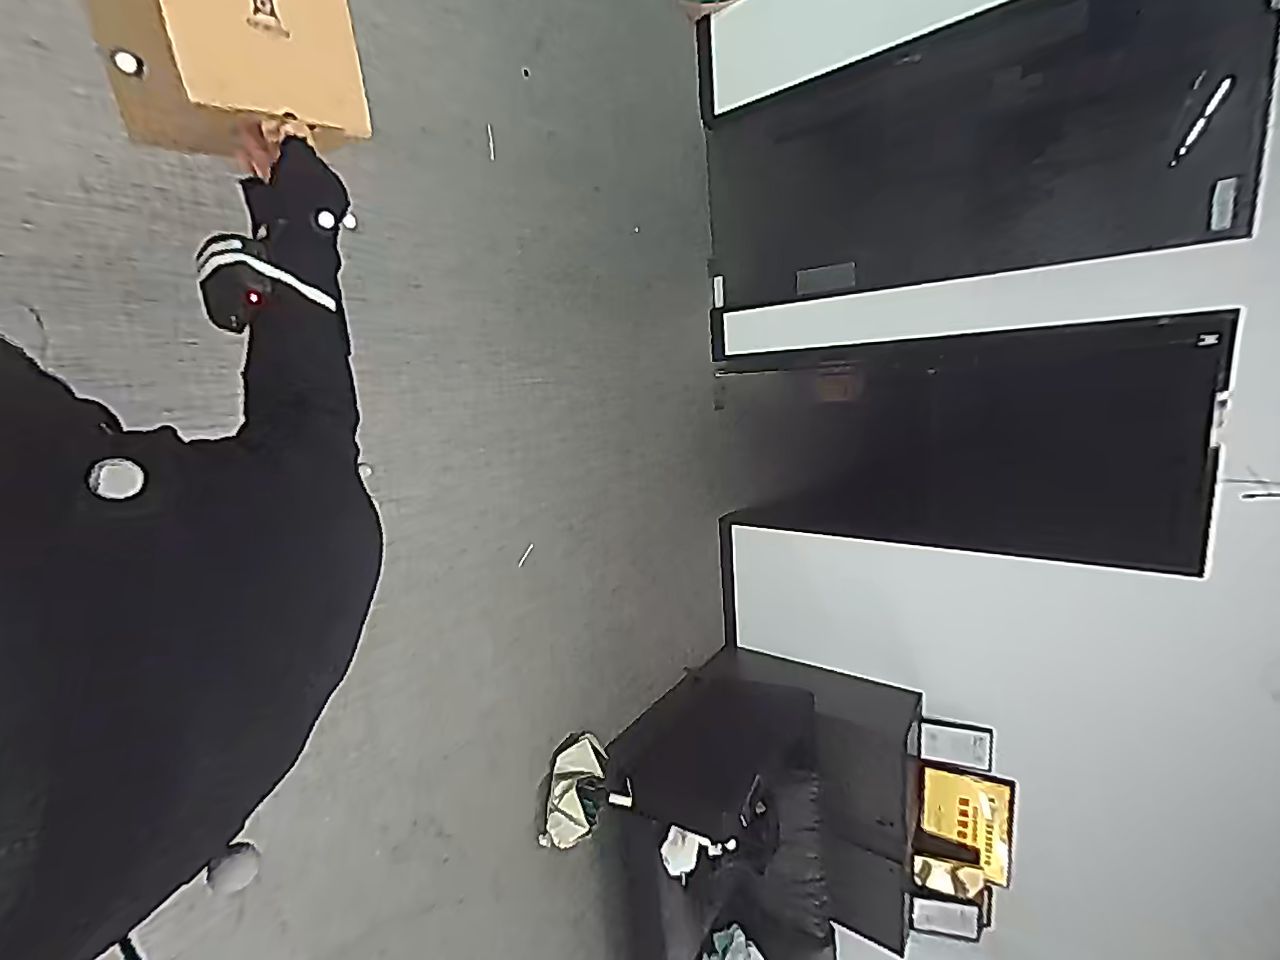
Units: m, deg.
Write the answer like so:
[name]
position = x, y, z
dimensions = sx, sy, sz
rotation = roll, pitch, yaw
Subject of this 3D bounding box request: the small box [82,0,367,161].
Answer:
[small box]
position = -0.405, -0.432, 0.528
dimensions = 0.168, 0.176, 0.179
rotation = -28, 120, -51
